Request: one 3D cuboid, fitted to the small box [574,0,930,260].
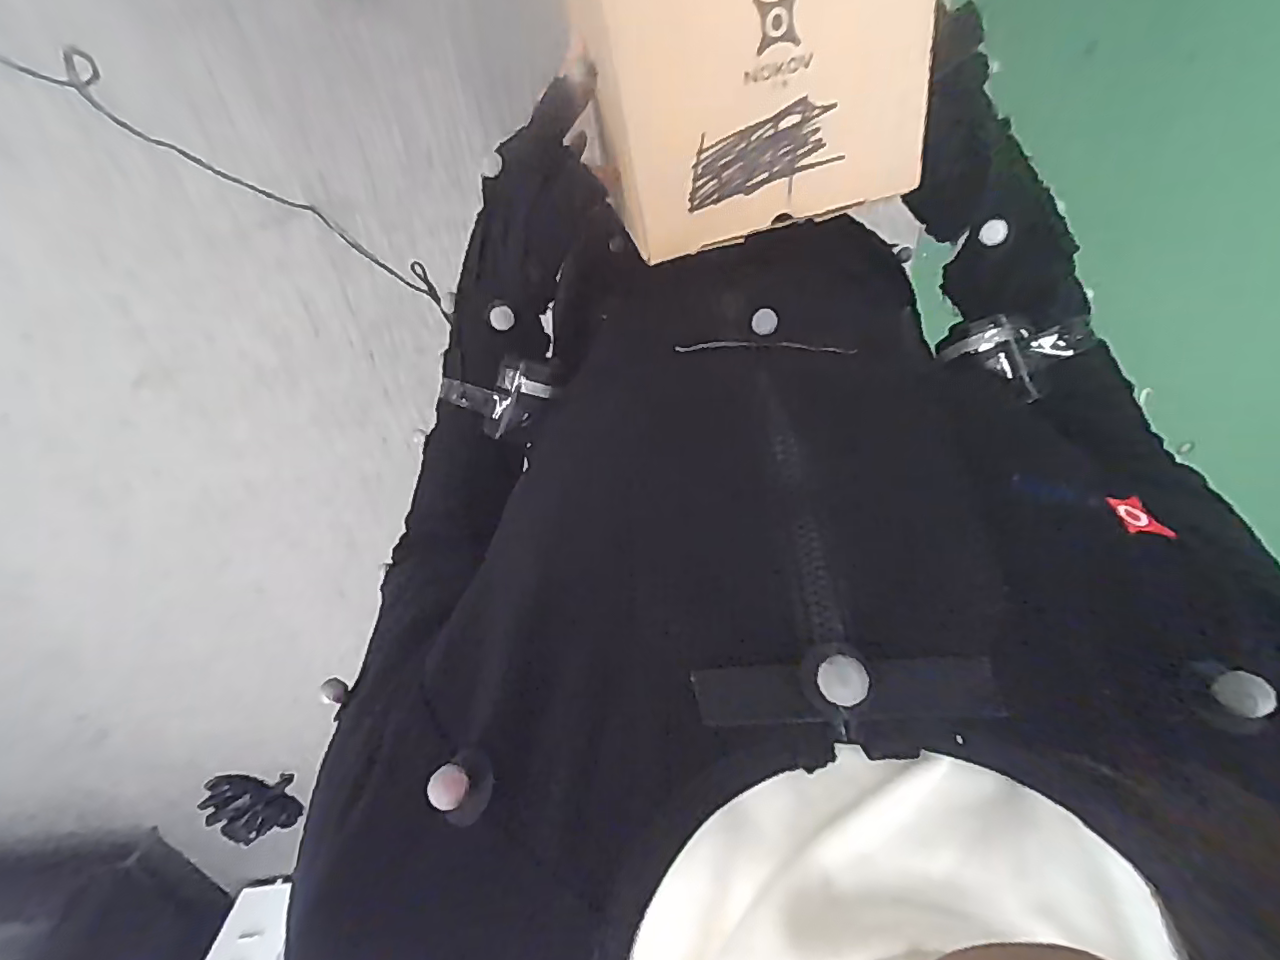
[{"bbox_3d":[0.055,-0.266,0.338,0.168,0.176,0.179,-15,128,-1],"label":"small box"}]
